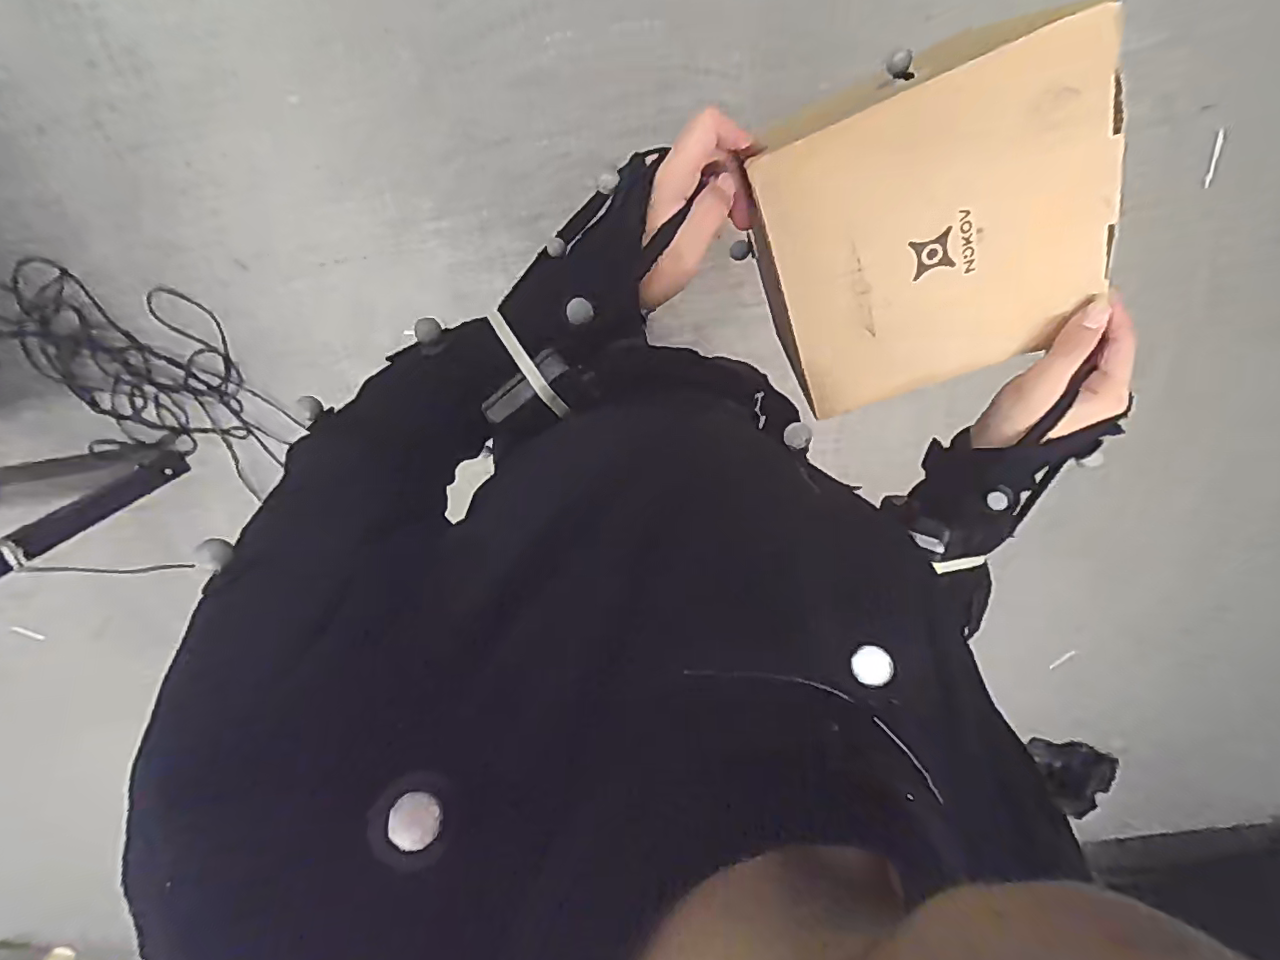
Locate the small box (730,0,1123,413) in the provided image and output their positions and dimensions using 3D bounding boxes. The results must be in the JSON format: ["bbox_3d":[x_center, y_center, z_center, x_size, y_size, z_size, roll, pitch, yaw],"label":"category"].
[{"bbox_3d":[0.173,-0.178,0.368,0.179,0.176,0.168,-19,120,17],"label":"small box"}]
